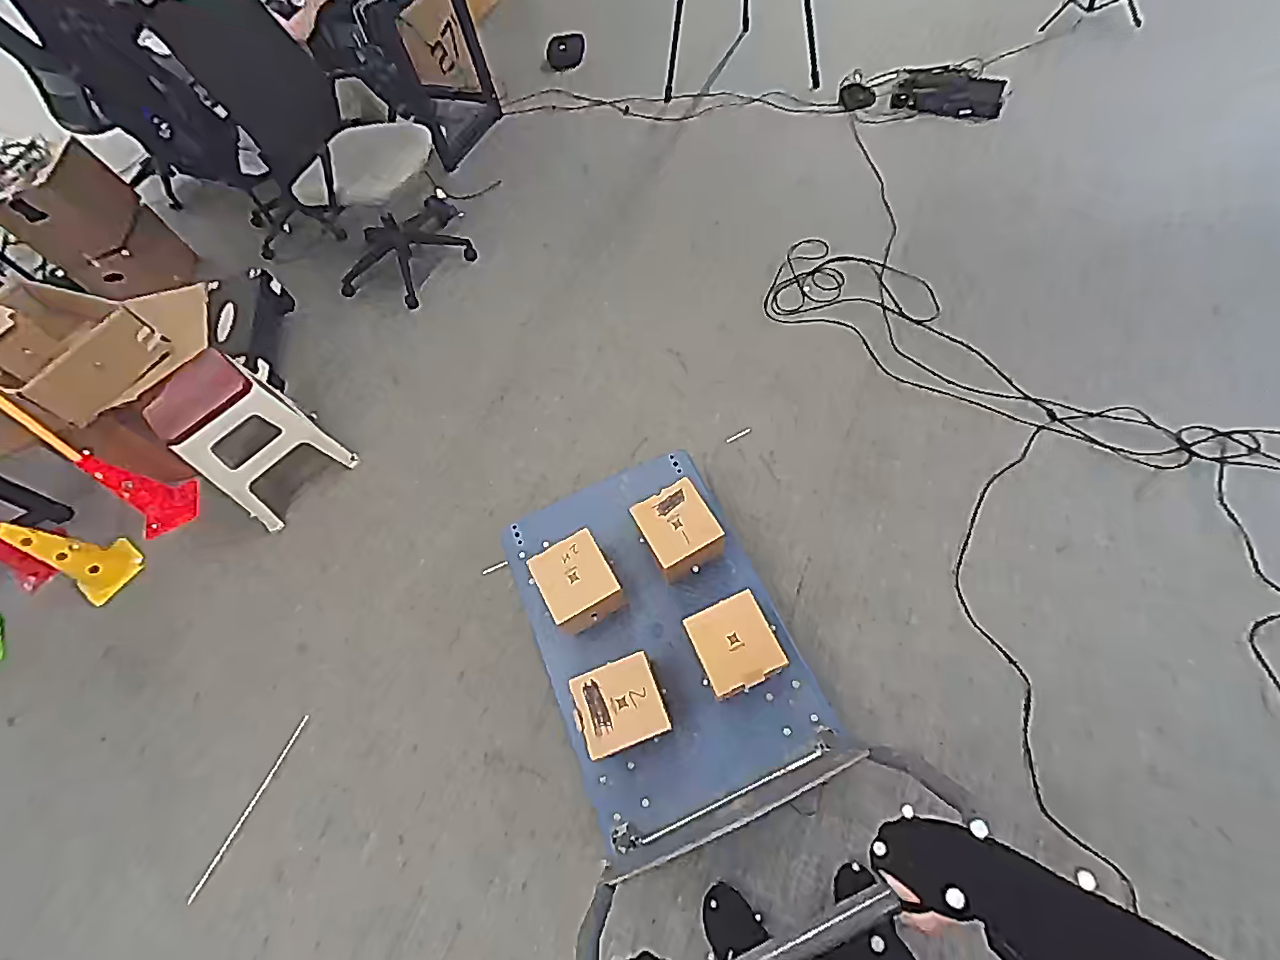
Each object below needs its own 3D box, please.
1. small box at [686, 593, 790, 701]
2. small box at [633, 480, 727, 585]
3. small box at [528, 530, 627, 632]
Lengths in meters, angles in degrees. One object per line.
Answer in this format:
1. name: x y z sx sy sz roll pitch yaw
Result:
1. small box: 0.211 0.382 1.218 0.168 0.176 0.179 -24 66 -5
2. small box: 0.097 0.134 1.339 0.168 0.176 0.179 -28 67 -6
3. small box: -0.144 0.253 1.310 0.168 0.176 0.179 -28 66 -8
